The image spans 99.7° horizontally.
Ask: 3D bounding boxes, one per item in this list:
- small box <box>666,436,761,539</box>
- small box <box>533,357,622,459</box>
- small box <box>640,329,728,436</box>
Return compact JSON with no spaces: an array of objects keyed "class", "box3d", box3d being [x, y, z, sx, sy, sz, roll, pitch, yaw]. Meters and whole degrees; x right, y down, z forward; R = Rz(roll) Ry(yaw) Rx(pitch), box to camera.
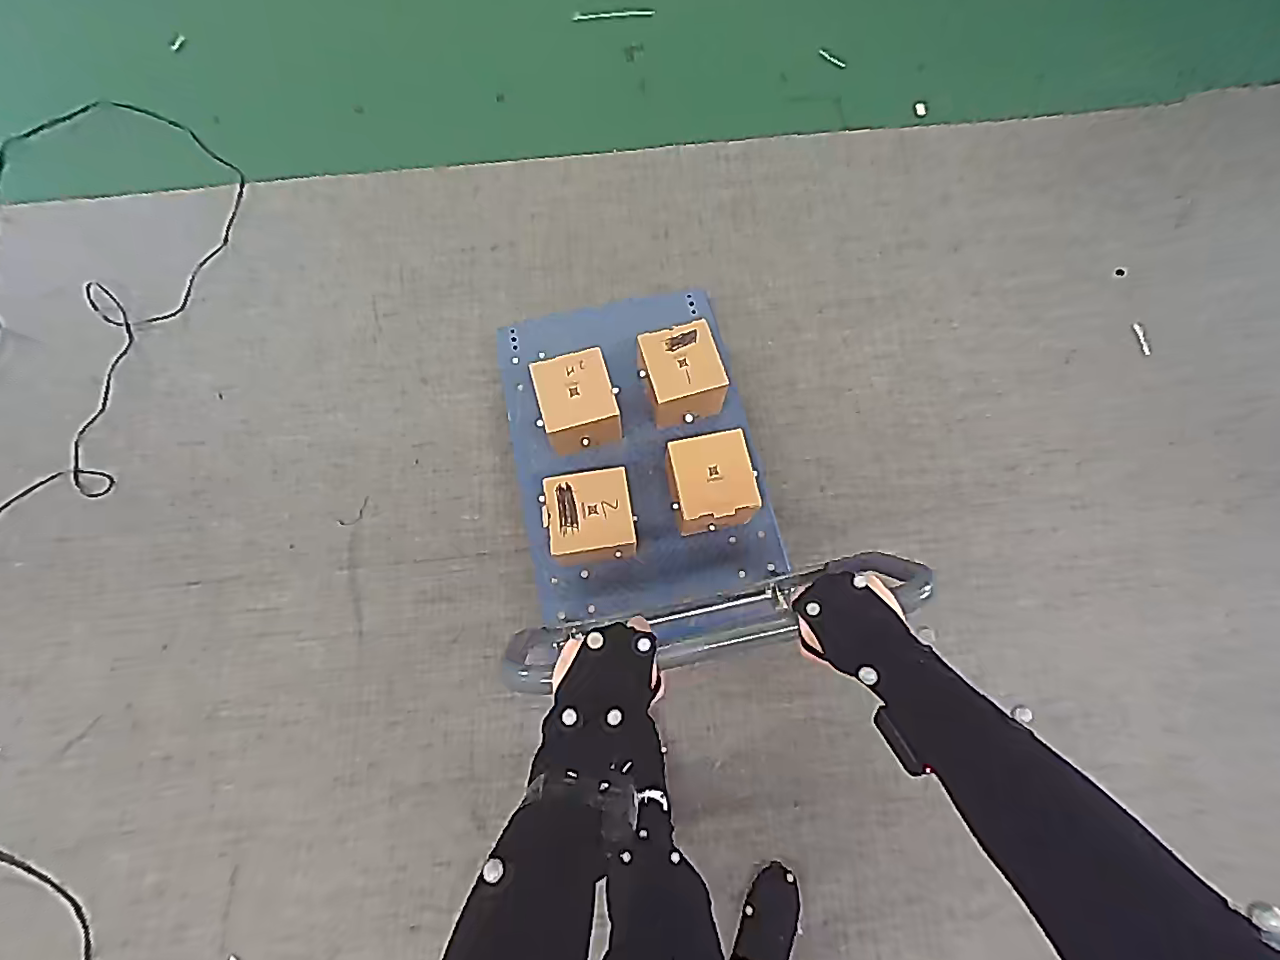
[{"class":"small box","box3d":[0.158,0.022,1.230,0.168,0.176,0.179,-11,73,-3]},{"class":"small box","box3d":[-0.143,-0.161,1.289,0.168,0.176,0.179,-15,73,-5]},{"class":"small box","box3d":[0.098,-0.231,1.307,0.168,0.176,0.179,-16,74,-3]}]
